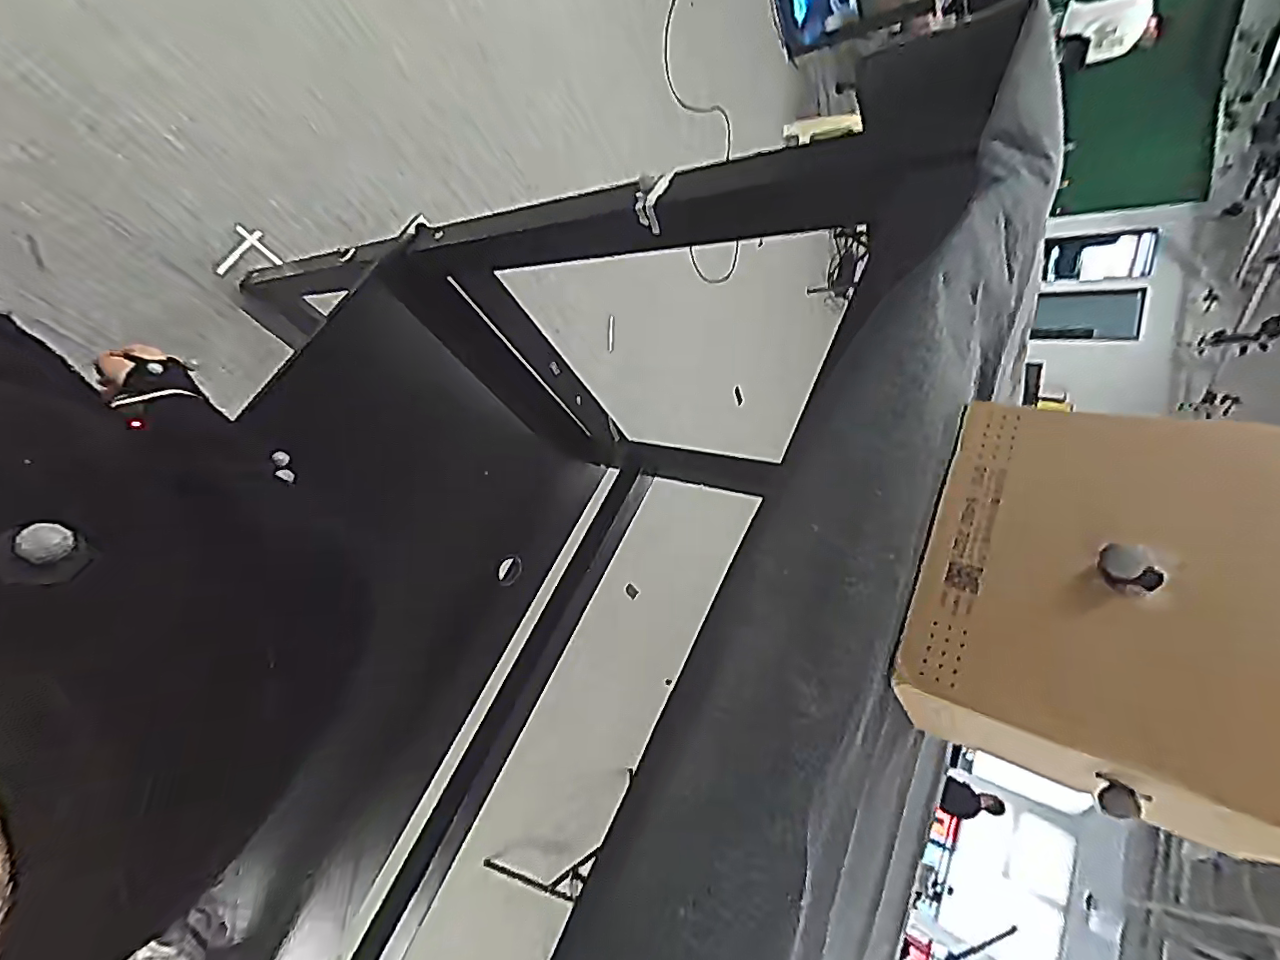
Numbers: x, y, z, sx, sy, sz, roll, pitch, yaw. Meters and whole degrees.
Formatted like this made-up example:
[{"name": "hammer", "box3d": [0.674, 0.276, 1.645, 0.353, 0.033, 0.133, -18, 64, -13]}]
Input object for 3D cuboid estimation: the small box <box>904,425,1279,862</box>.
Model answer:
[{"name": "small box", "box3d": [0.260, 0.082, 0.304, 0.179, 0.176, 0.168, 45, 65, -49]}]
